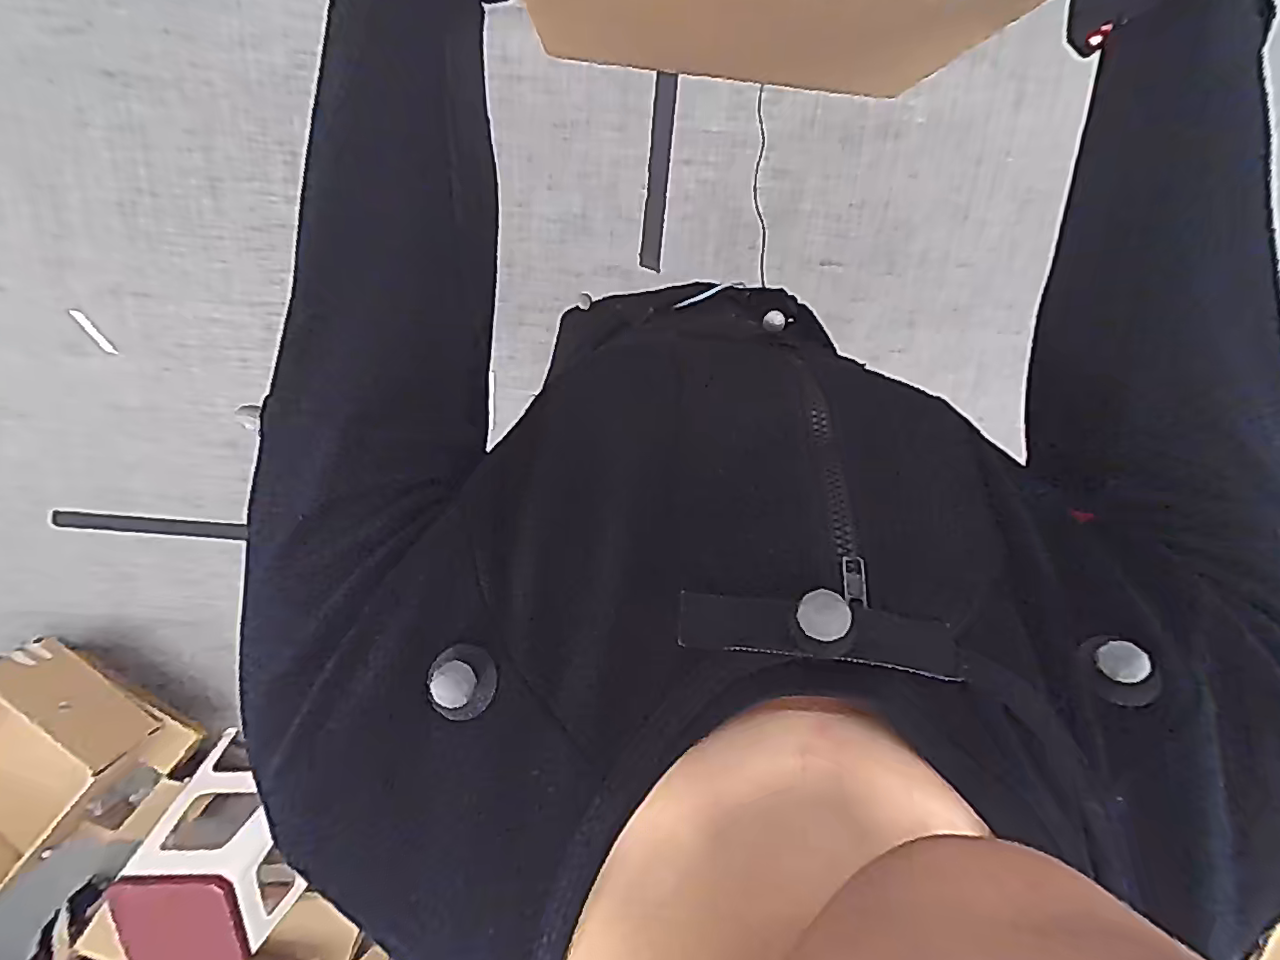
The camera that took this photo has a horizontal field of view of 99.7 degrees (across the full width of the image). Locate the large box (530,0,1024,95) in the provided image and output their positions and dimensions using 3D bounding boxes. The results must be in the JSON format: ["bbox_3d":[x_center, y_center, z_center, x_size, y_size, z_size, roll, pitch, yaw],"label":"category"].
[{"bbox_3d":[0.108,-0.547,0.431,0.408,0.320,0.320,4,112,-3],"label":"large box"}]
